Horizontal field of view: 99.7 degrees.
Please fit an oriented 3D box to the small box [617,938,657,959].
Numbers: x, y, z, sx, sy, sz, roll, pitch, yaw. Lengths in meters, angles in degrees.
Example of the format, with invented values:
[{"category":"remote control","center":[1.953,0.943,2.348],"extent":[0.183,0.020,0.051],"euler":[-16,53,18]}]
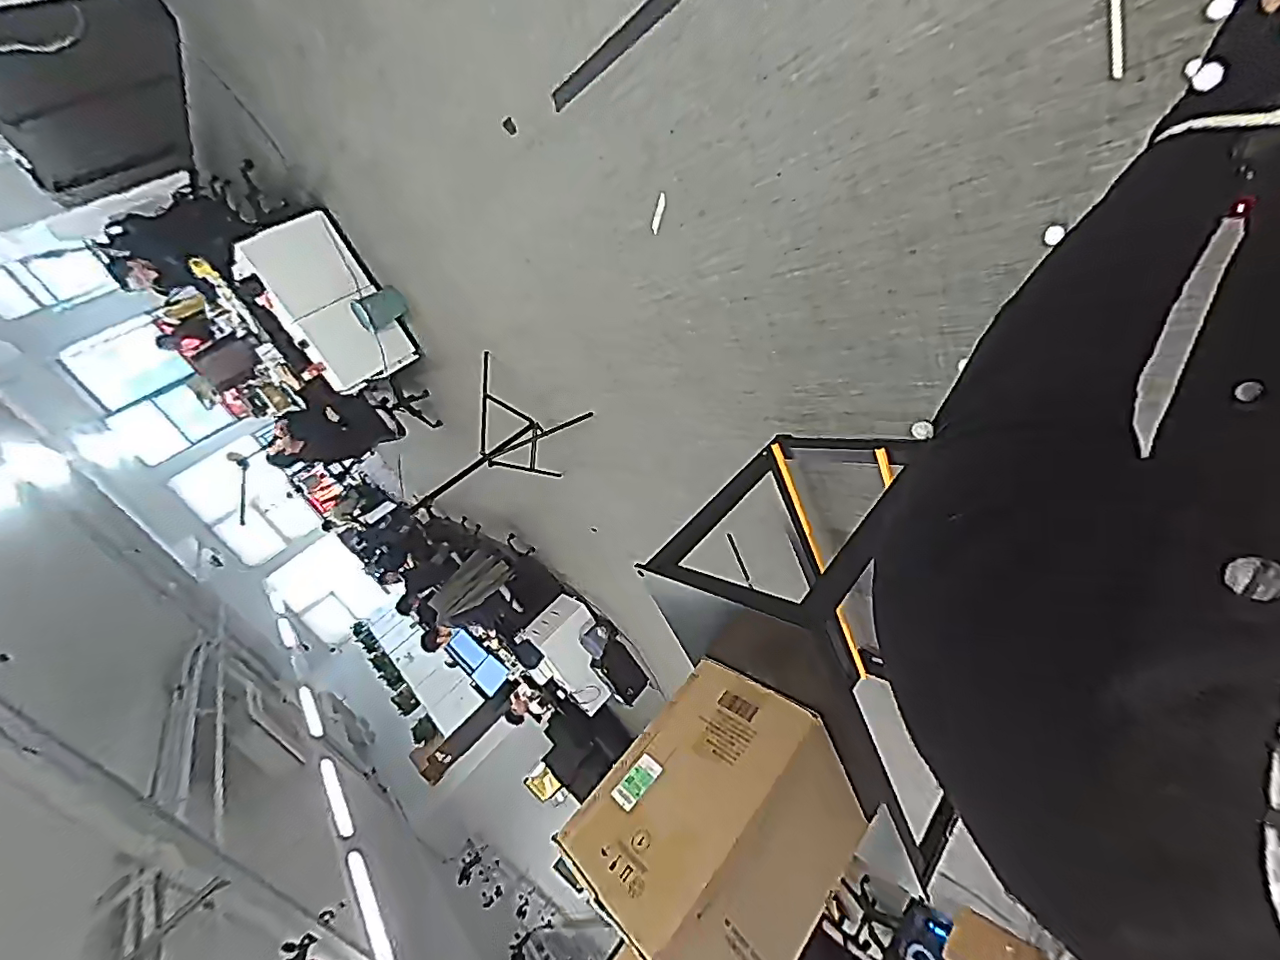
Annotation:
[{"category":"small box","center":[0.008,1.309,1.342],"extent":[0.179,0.176,0.168],"euler":[8,132,53]}]
